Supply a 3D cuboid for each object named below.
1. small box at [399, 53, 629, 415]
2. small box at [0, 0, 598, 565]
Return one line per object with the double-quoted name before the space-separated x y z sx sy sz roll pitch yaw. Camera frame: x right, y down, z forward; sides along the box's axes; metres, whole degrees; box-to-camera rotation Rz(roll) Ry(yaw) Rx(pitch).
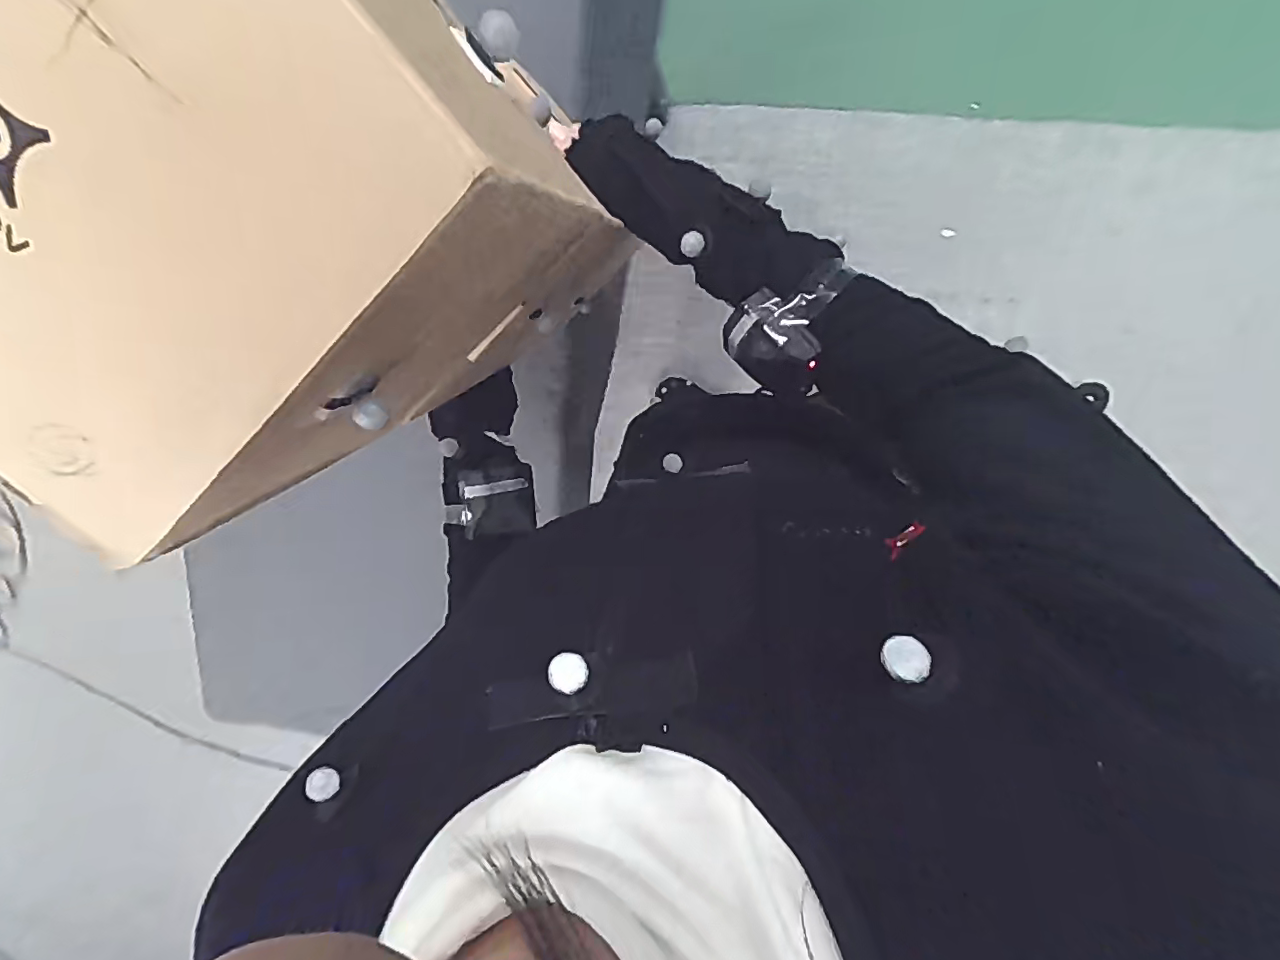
"small box" -0.125 -0.176 0.341 0.168 0.176 0.179 -38 105 20
"small box" -0.136 -0.109 0.192 0.179 0.176 0.168 -36 106 19
